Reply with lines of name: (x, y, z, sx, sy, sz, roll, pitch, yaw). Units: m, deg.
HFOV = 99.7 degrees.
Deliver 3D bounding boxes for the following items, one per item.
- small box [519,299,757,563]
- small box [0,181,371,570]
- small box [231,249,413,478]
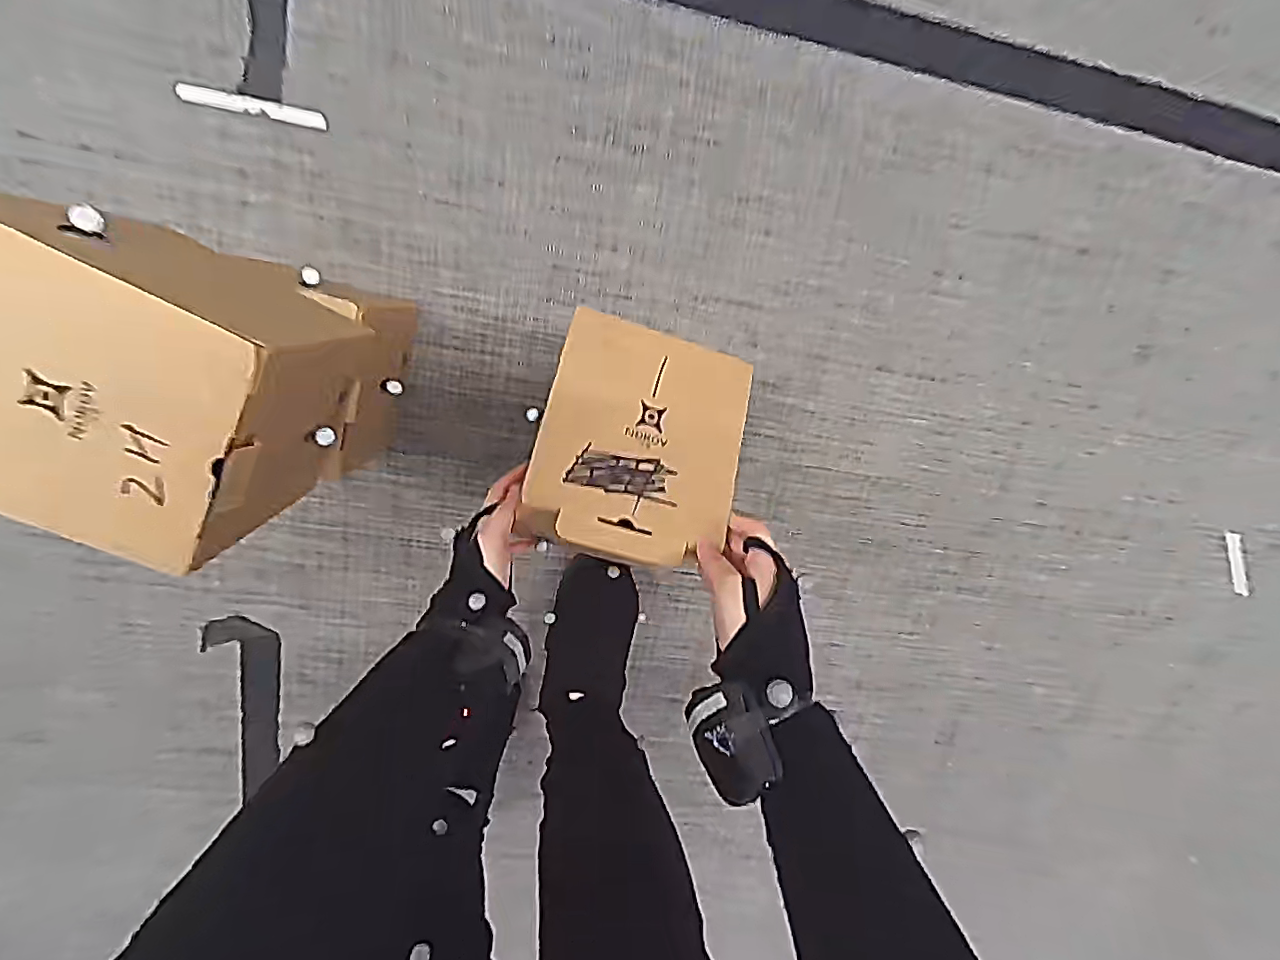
small box: (-0.012, -0.028, 0.510, 0.168, 0.176, 0.179, 17, 71, -11)
small box: (-0.326, -0.073, 0.373, 0.179, 0.176, 0.168, 27, 104, -13)
small box: (-0.342, -0.121, 0.530, 0.179, 0.176, 0.168, 14, 106, -11)
